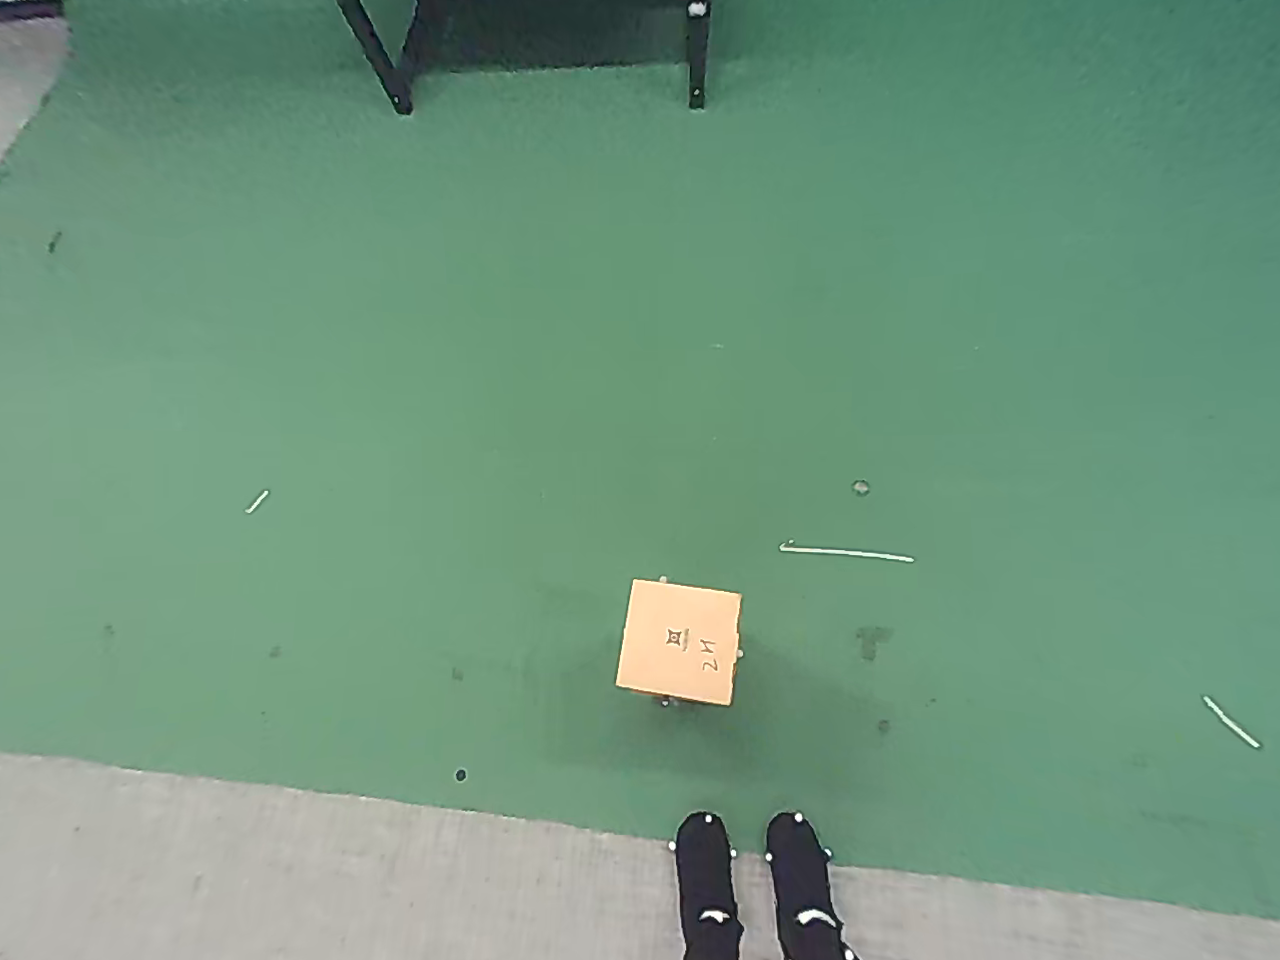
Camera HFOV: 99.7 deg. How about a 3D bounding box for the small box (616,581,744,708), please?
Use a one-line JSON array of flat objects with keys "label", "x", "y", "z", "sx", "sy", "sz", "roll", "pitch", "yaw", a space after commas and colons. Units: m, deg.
[{"label": "small box", "x": 0.071, "y": 0.274, "z": 0.893, "sx": 0.179, "sy": 0.176, "sz": 0.168, "roll": 7, "pitch": 70, "yaw": 9}]
